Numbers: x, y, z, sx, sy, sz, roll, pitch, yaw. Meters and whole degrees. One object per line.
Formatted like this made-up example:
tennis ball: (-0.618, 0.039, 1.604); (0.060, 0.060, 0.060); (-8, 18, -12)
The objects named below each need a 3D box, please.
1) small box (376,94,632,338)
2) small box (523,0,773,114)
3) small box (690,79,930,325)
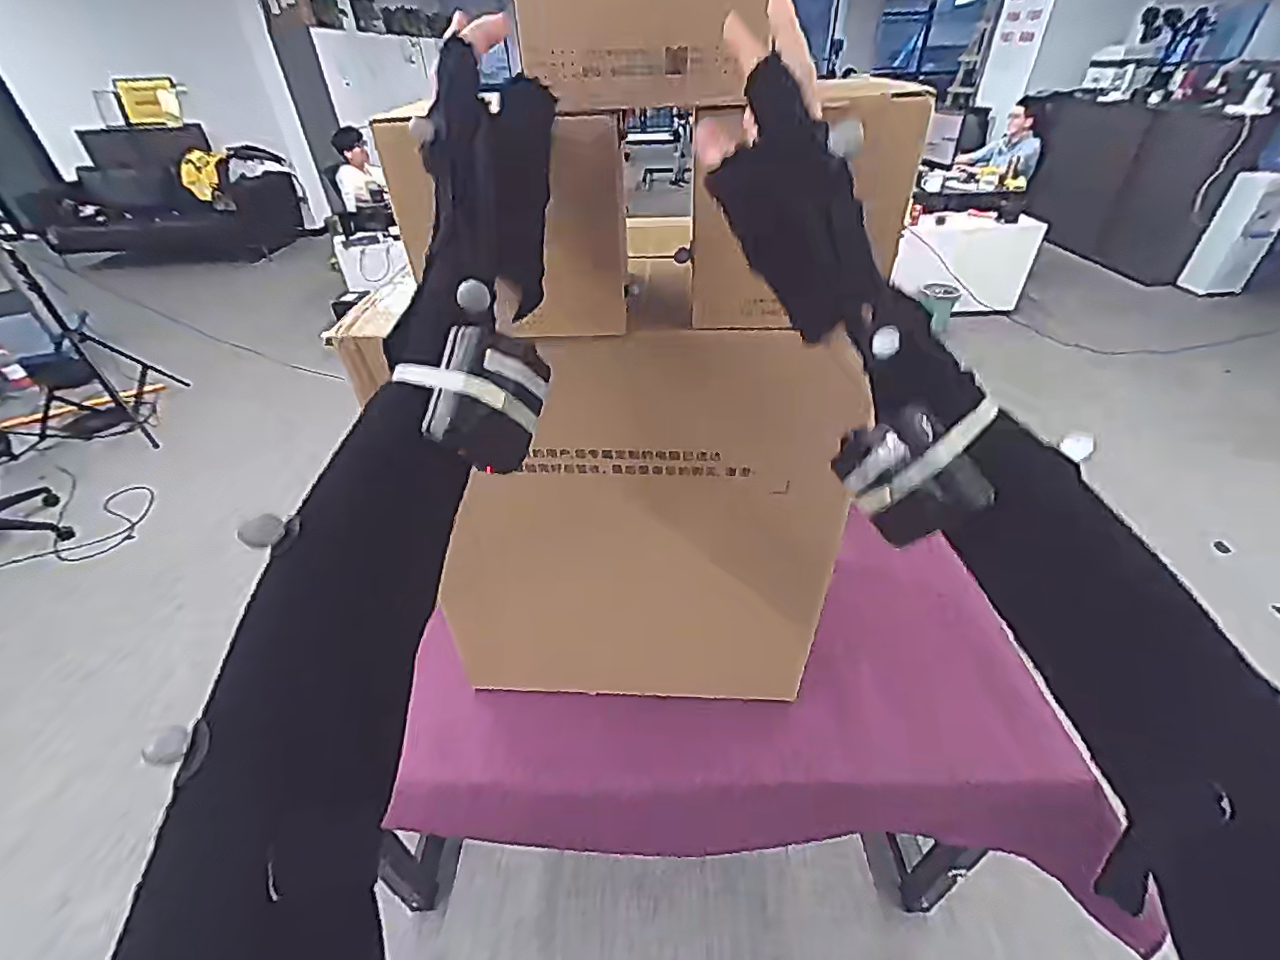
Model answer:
small box: (-0.098, -0.241, 0.493); (0.179, 0.176, 0.168); (-2, 39, 2)
small box: (0.008, -0.373, 0.394); (0.168, 0.176, 0.179); (1, 38, 3)
small box: (0.132, -0.252, 0.495); (0.168, 0.176, 0.179); (1, 40, 4)
